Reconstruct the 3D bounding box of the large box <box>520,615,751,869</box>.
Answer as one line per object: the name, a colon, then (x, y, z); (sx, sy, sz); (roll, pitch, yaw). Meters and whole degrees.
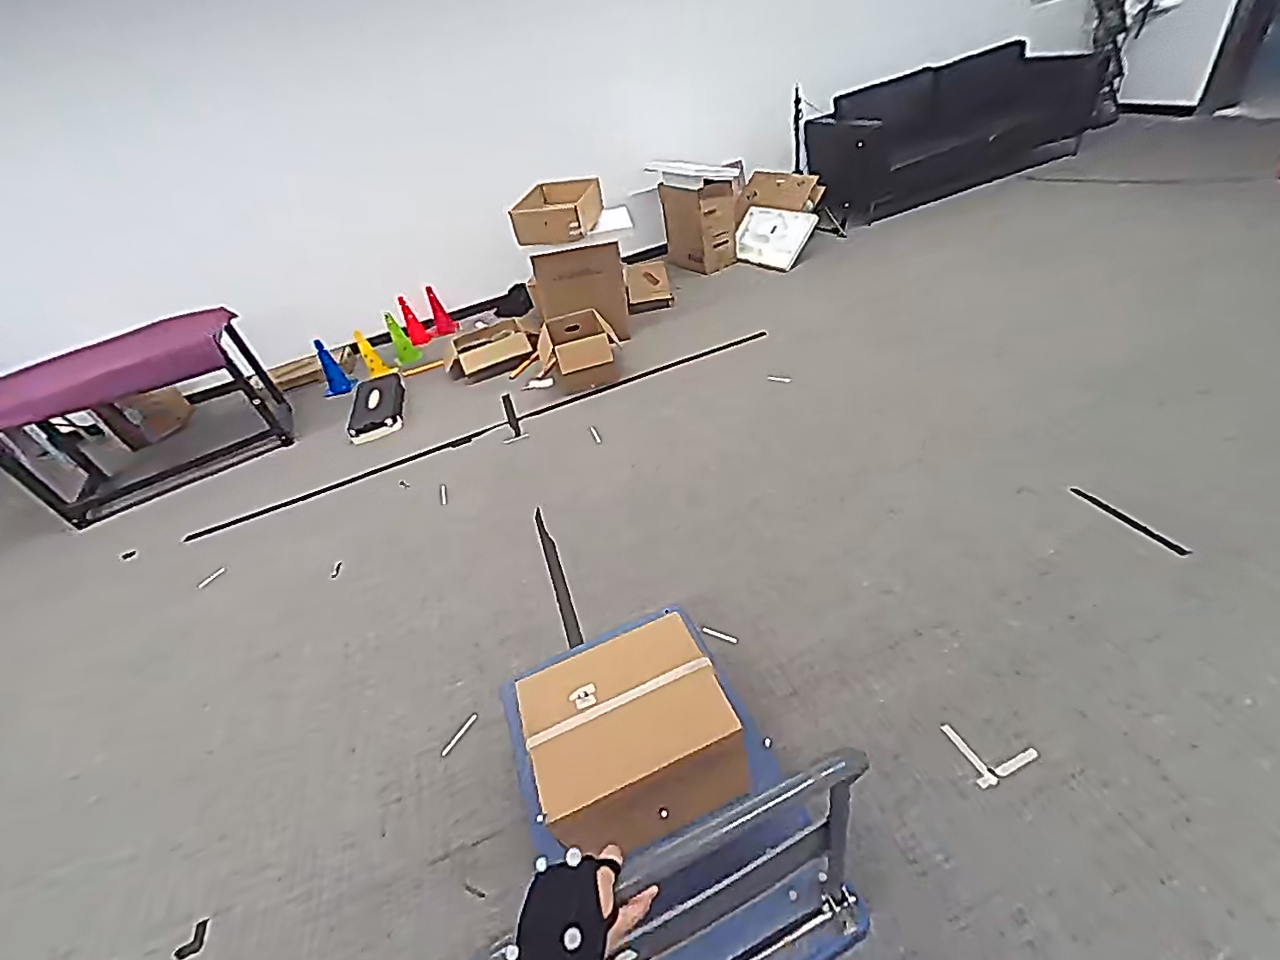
large box: (-0.006, 0.585, 1.227); (0.408, 0.320, 0.320); (-23, 38, -9)
